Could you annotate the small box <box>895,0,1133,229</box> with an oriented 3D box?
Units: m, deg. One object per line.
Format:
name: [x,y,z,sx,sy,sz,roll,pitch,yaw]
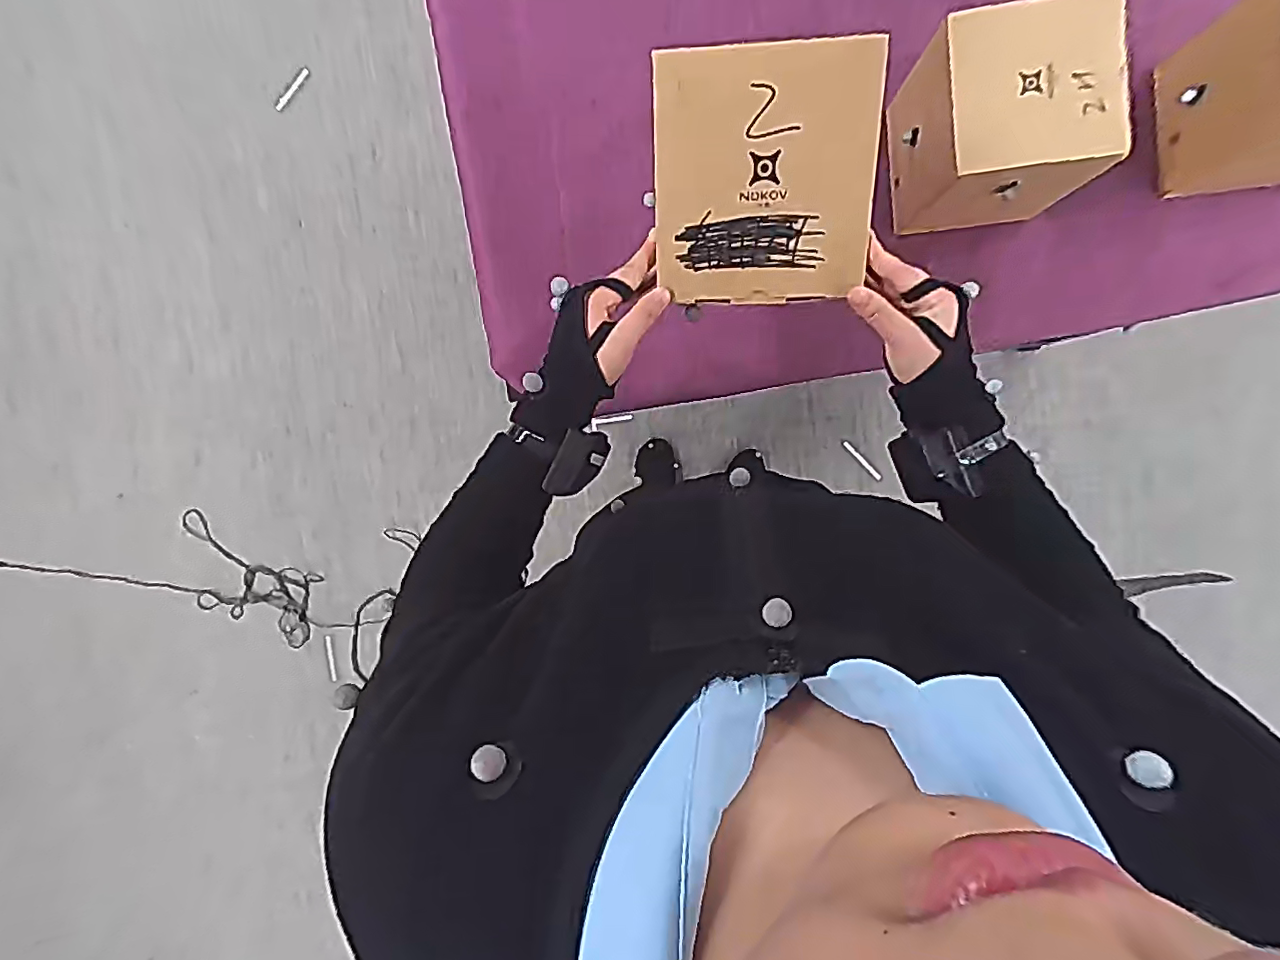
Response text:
small box: [0.414,-0.412,0.631,0.179,0.176,0.168,-5,94,4]

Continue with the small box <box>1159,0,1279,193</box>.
small box: [0.747,-0.449,0.606,0.179,0.176,0.168,-5,93,5]
